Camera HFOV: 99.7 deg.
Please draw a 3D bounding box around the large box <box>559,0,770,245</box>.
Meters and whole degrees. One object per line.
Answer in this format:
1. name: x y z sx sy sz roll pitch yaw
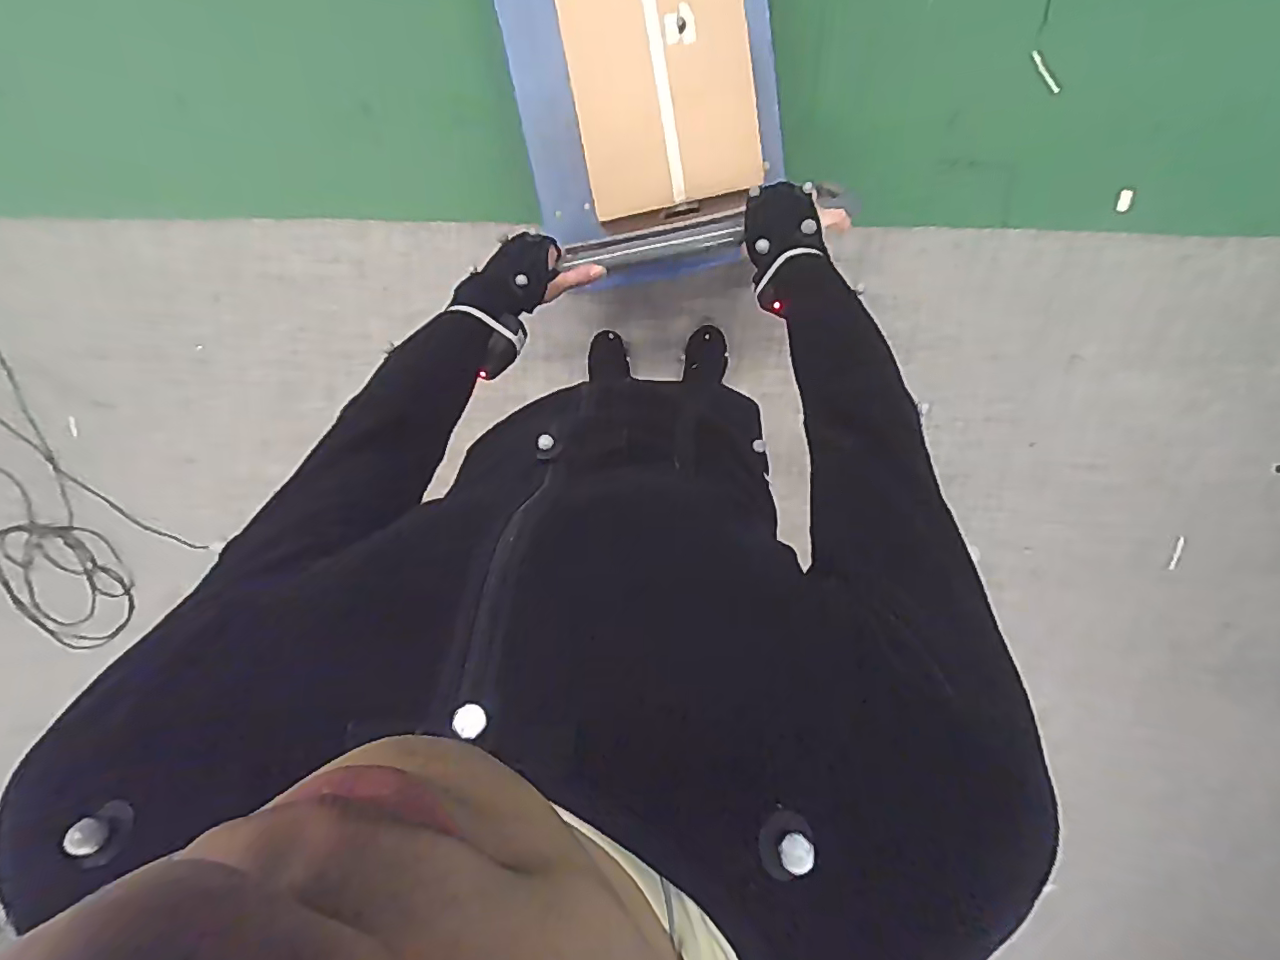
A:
1. large box: 0.058 -0.726 1.070 0.320 0.320 0.408 -9 105 7
